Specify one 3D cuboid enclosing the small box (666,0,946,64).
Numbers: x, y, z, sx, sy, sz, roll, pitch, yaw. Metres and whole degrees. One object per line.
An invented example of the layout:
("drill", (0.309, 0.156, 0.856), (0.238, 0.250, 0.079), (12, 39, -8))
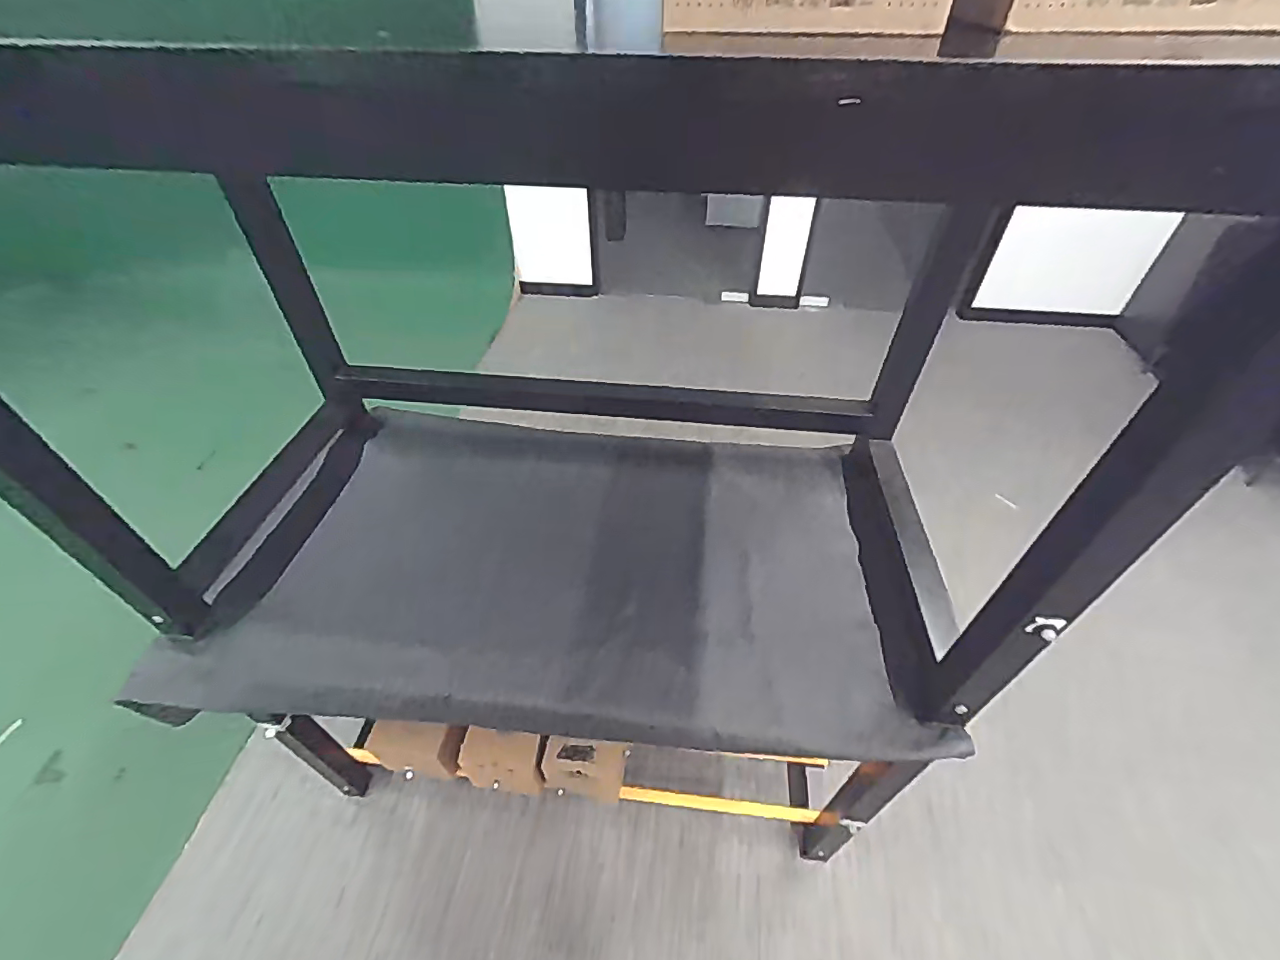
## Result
("small box", (0.104, -0.375, 0.332), (0.168, 0.176, 0.179), (4, 45, 5))
